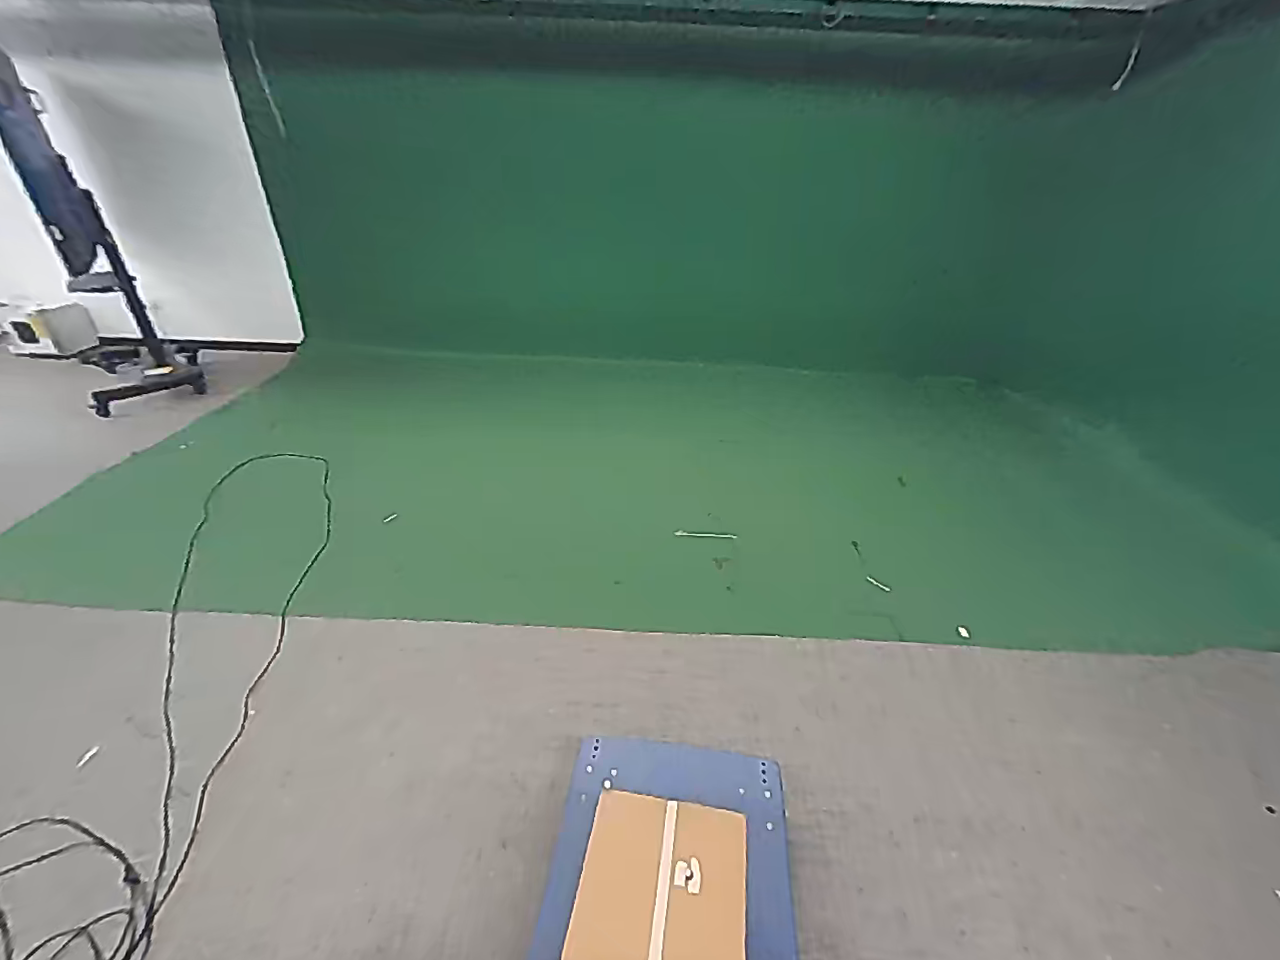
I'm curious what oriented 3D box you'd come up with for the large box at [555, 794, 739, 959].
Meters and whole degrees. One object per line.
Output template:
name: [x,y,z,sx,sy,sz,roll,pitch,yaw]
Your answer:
large box: [0.019,0.923,1.059,0.320,0.320,0.408,7,30,7]
